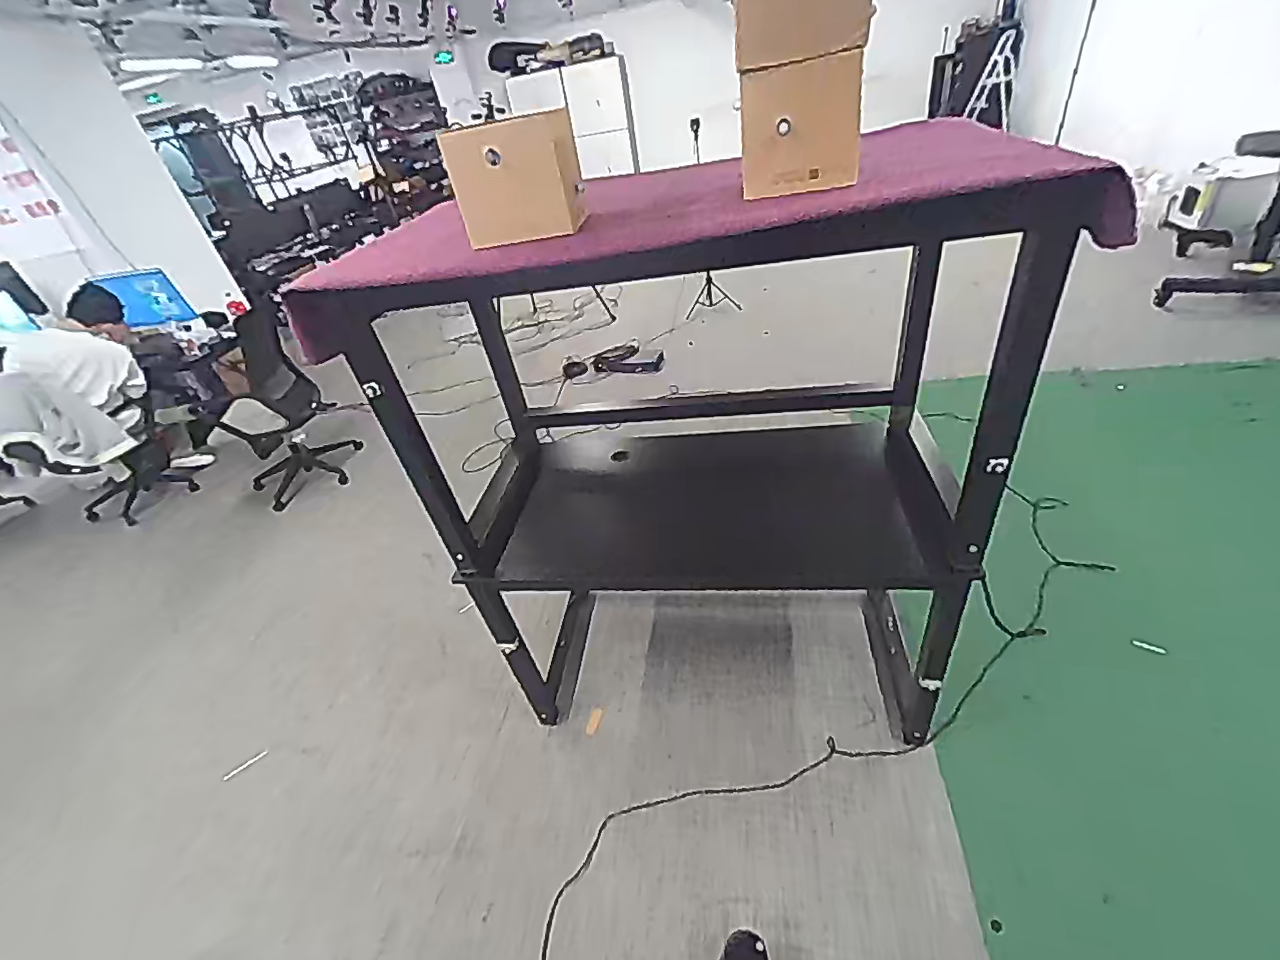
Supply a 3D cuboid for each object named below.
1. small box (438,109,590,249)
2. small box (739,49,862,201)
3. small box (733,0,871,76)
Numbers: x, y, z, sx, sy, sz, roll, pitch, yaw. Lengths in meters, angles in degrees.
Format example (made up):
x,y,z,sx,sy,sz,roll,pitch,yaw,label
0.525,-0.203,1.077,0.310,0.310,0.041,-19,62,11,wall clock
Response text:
x,y,z,sx,sy,sz,roll,pitch,yaw,label
-0.195,-0.493,0.890,0.179,0.176,0.168,-5,36,9,small box
0.249,-0.547,0.844,0.168,0.176,0.179,-1,36,15,small box
0.217,-0.673,0.744,0.179,0.176,0.168,-3,37,13,small box
